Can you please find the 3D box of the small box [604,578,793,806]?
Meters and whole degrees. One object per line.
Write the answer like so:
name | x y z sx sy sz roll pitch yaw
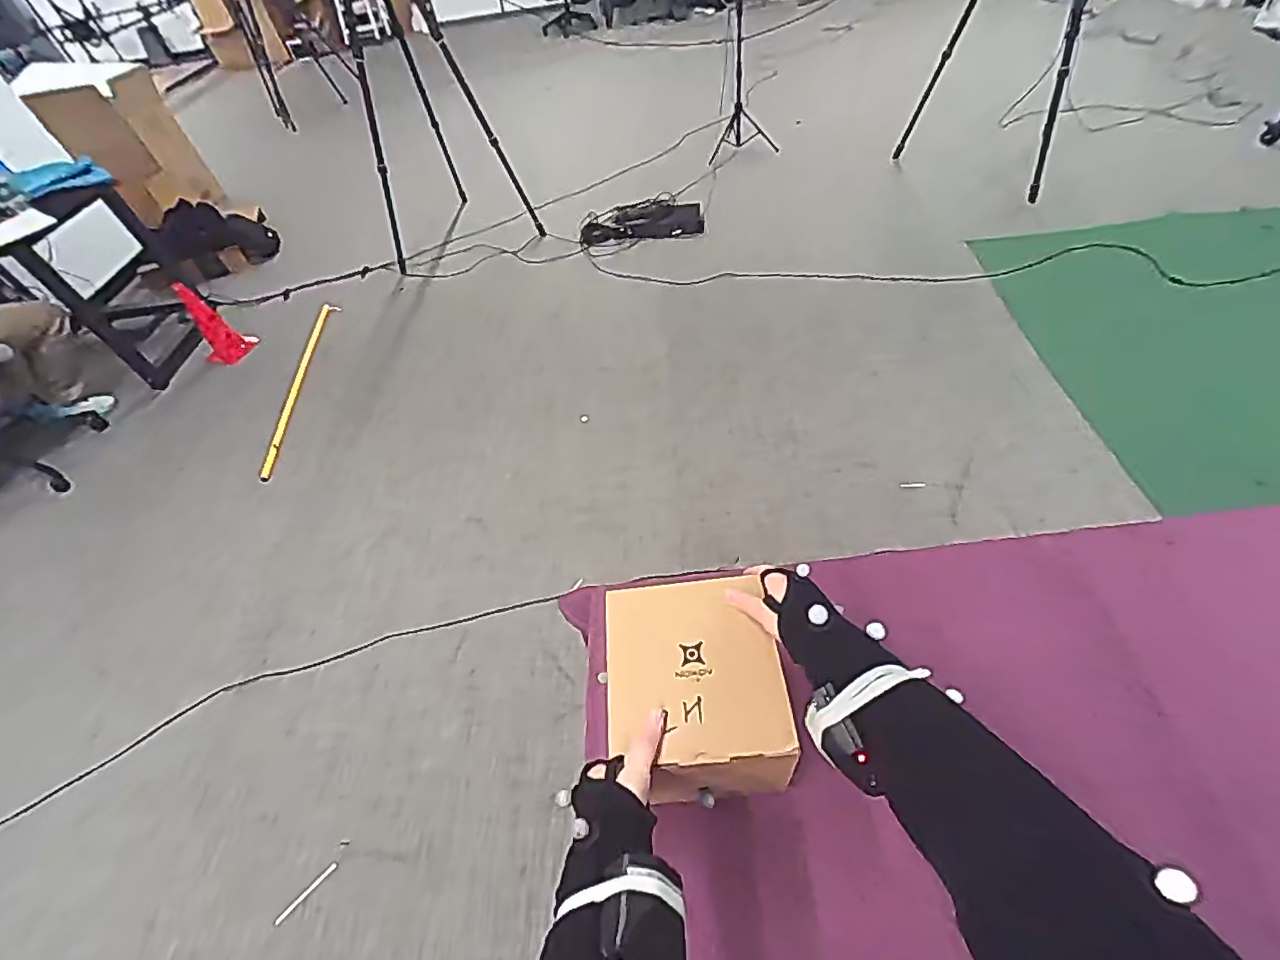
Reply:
small box | 0.056 0.228 0.577 0.168 0.176 0.179 -7 50 4
